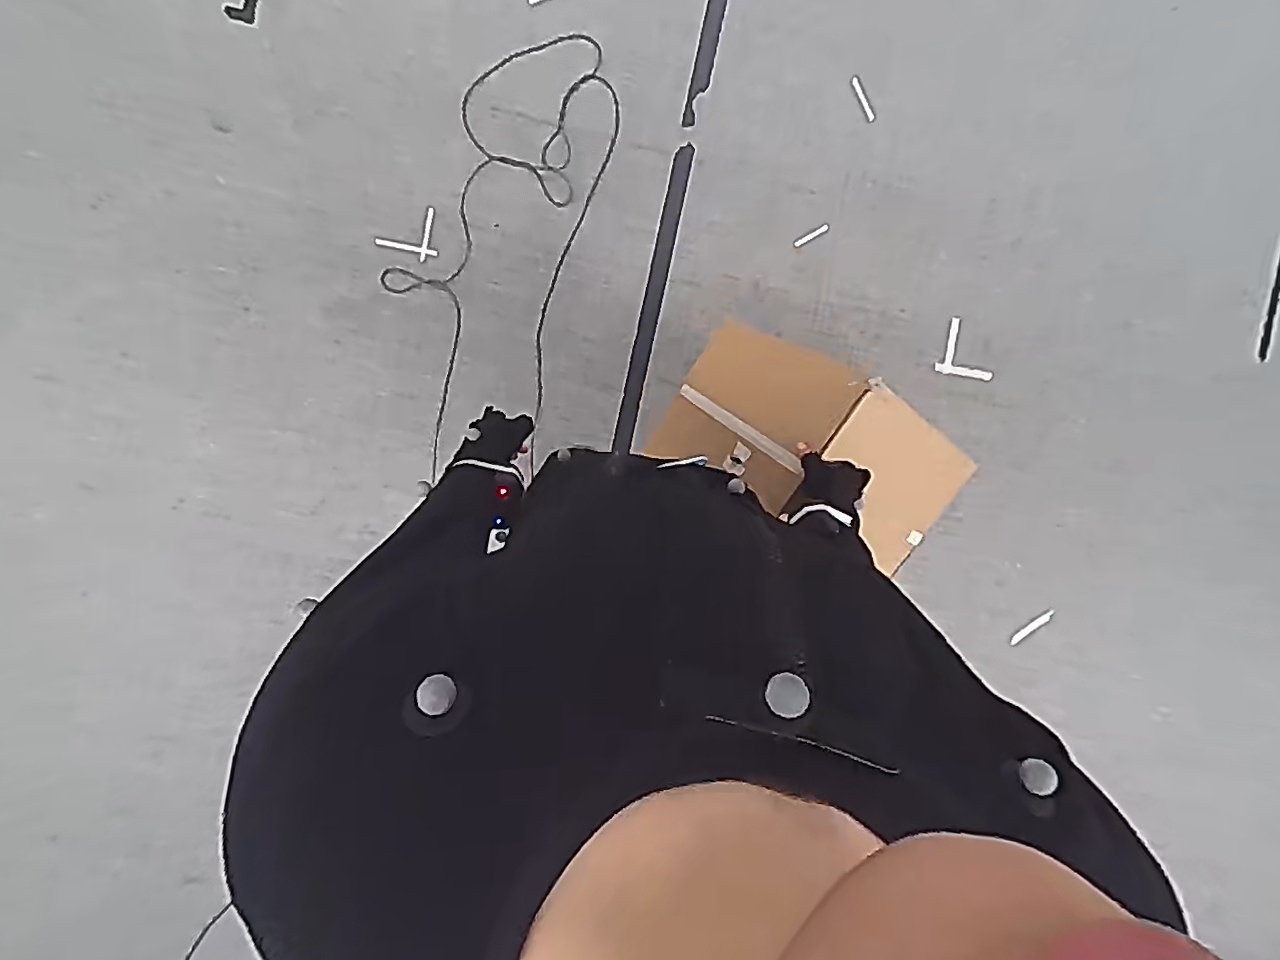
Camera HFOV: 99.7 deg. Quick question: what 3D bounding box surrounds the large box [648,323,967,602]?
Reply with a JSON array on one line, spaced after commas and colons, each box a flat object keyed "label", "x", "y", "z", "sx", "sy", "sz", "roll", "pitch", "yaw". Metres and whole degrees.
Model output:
[{"label": "large box", "x": 0.281, "y": -0.043, "z": 1.005, "sx": 0.320, "sy": 0.408, "sz": 0.320, "roll": 24, "pitch": 105, "yaw": -33}]
